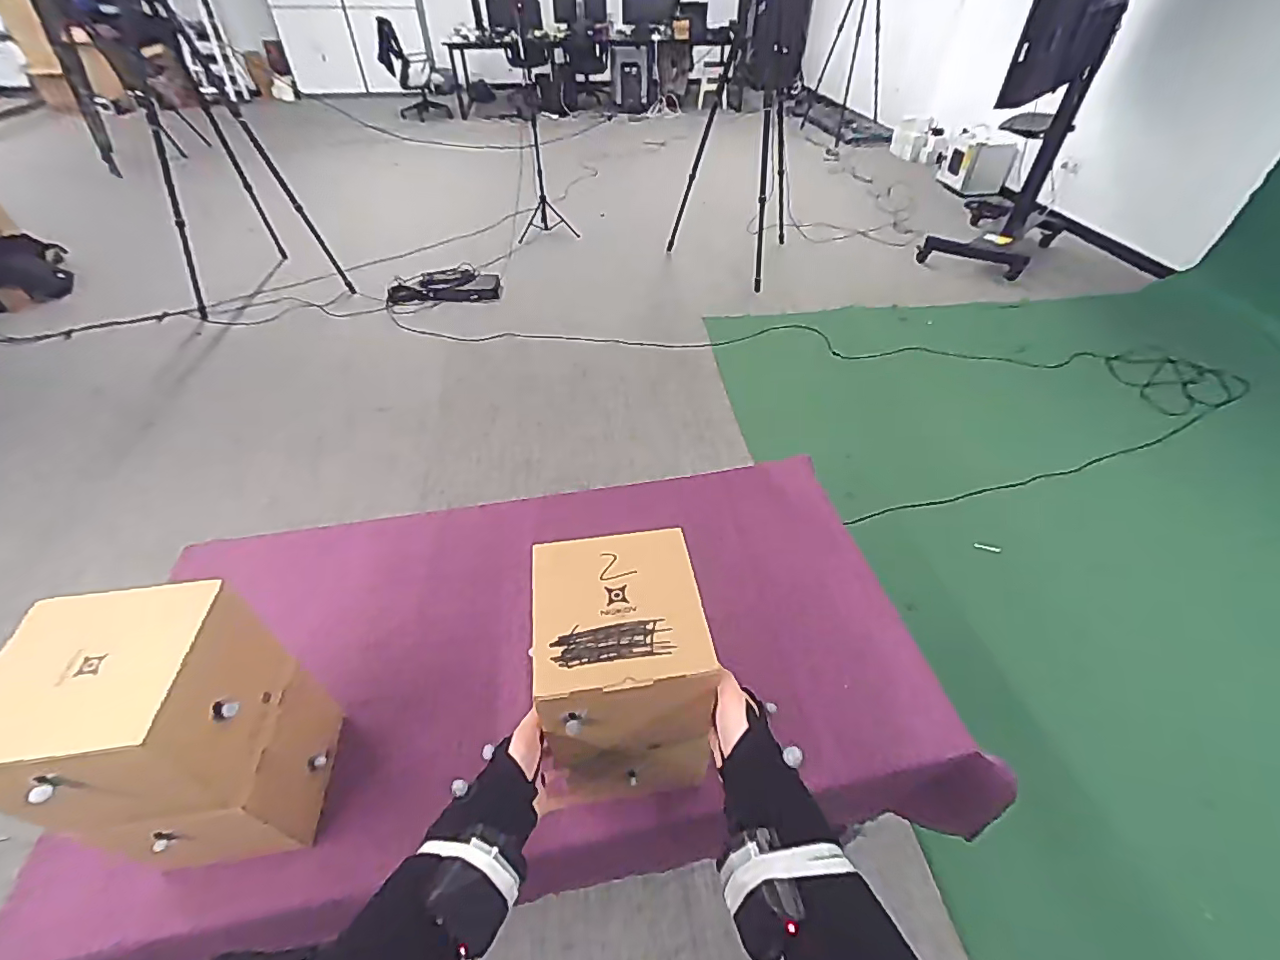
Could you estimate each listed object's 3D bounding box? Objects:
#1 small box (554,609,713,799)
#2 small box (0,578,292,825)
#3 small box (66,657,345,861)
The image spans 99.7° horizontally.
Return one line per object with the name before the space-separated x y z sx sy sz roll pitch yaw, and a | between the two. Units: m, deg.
small box | -0.014 0.291 0.701 0.179 0.176 0.168 -7 45 -5
small box | -0.492 0.222 0.541 0.179 0.176 0.168 -7 45 -5
small box | -0.496 0.339 0.655 0.179 0.176 0.168 -6 45 -5
